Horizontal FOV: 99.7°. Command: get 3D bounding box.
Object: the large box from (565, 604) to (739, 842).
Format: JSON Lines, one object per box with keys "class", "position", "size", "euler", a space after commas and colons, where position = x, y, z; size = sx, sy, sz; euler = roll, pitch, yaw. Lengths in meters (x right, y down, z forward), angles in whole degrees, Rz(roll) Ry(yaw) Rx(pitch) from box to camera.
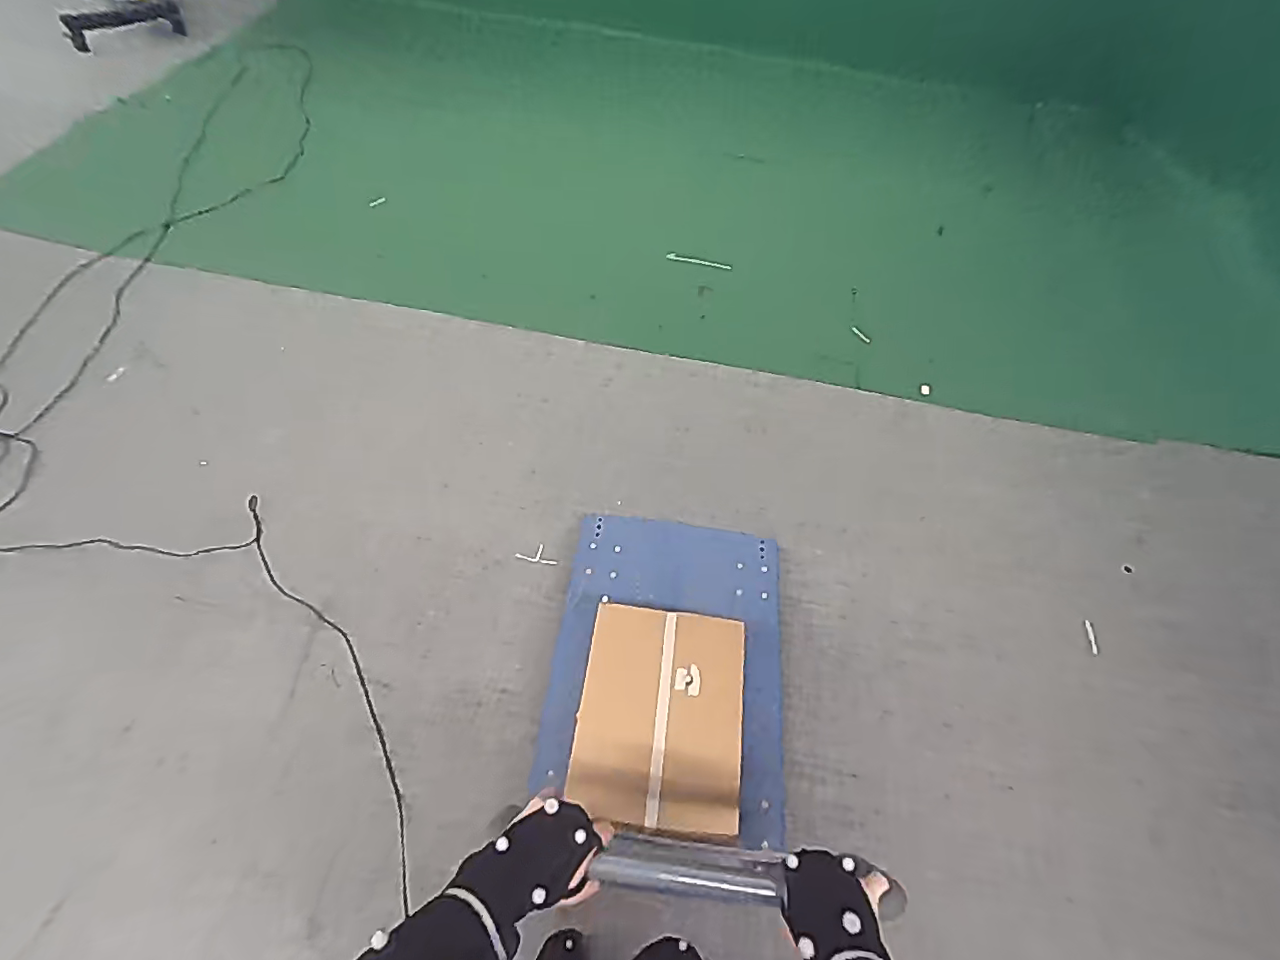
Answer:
{"class": "large box", "position": [0.033, 0.532, 1.177], "size": [0.320, 0.320, 0.408], "euler": [8, 55, 1]}
